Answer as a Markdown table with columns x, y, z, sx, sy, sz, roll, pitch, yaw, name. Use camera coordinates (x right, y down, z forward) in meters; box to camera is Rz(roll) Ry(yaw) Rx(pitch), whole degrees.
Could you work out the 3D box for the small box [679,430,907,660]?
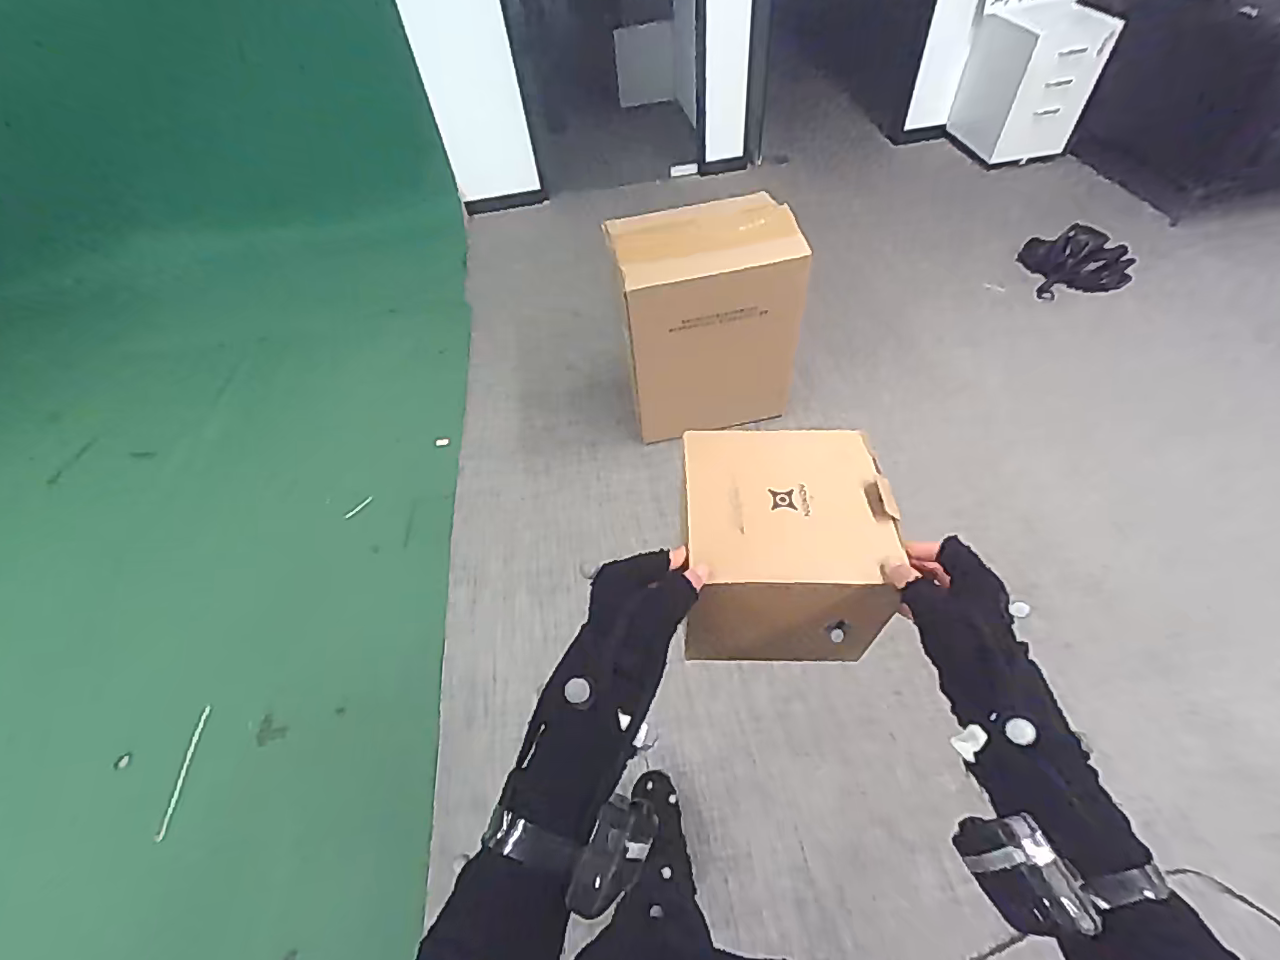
| x | y | z | sx | sy | sz | roll | pitch | yaw | name |
| --- | --- | --- | --- | --- | --- | --- | --- | --- | --- |
| 0.129 | 0.069 | 0.537 | 0.179 | 0.176 | 0.168 | -3 | 50 | 3 | small box |
